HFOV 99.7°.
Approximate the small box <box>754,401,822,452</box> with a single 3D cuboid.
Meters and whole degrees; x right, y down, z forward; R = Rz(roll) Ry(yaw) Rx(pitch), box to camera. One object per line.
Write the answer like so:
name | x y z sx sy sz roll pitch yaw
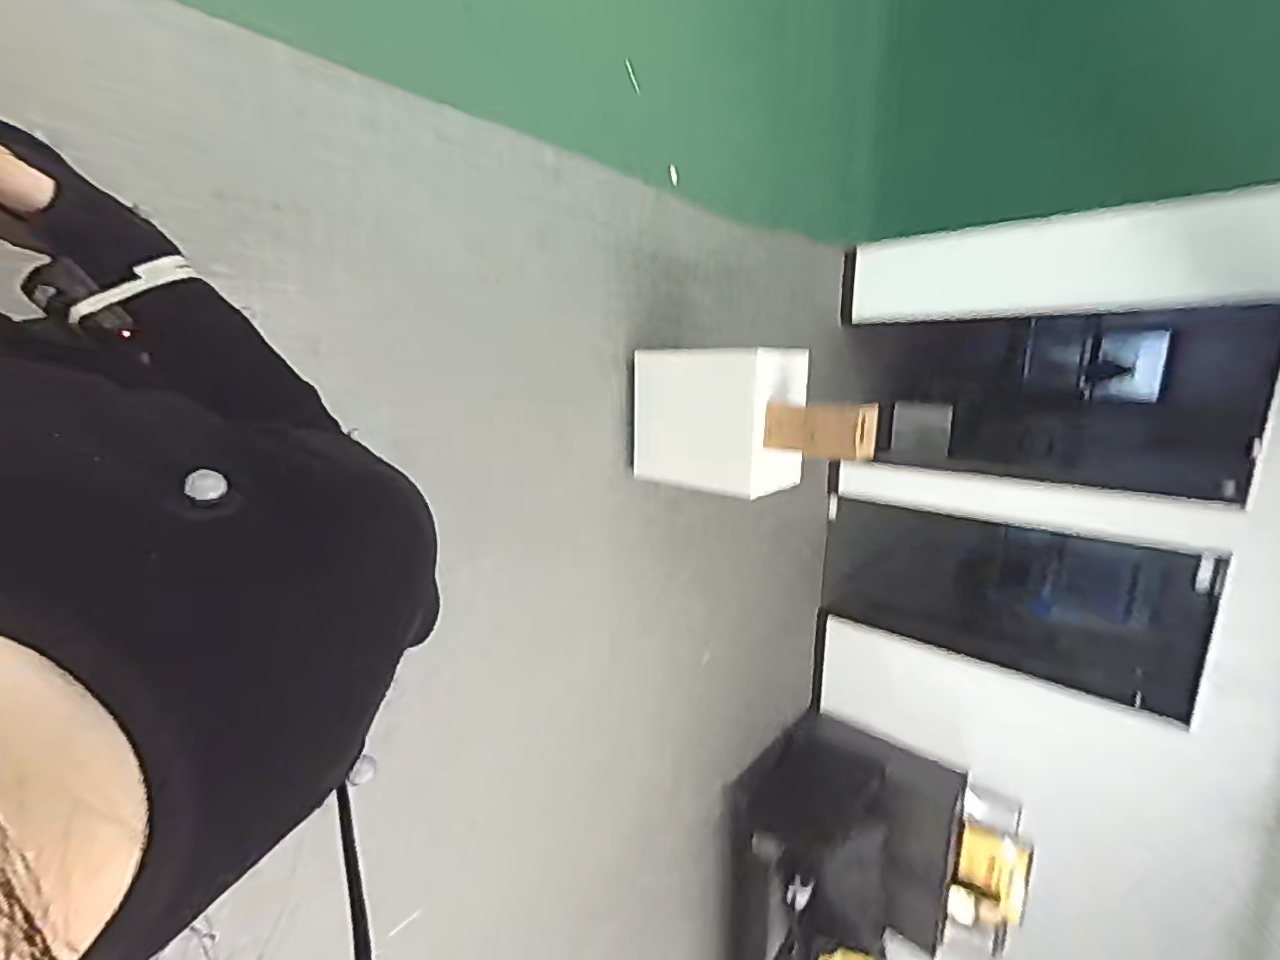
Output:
small box | 0.527 -0.195 1.925 0.179 0.176 0.168 -10 106 -50
